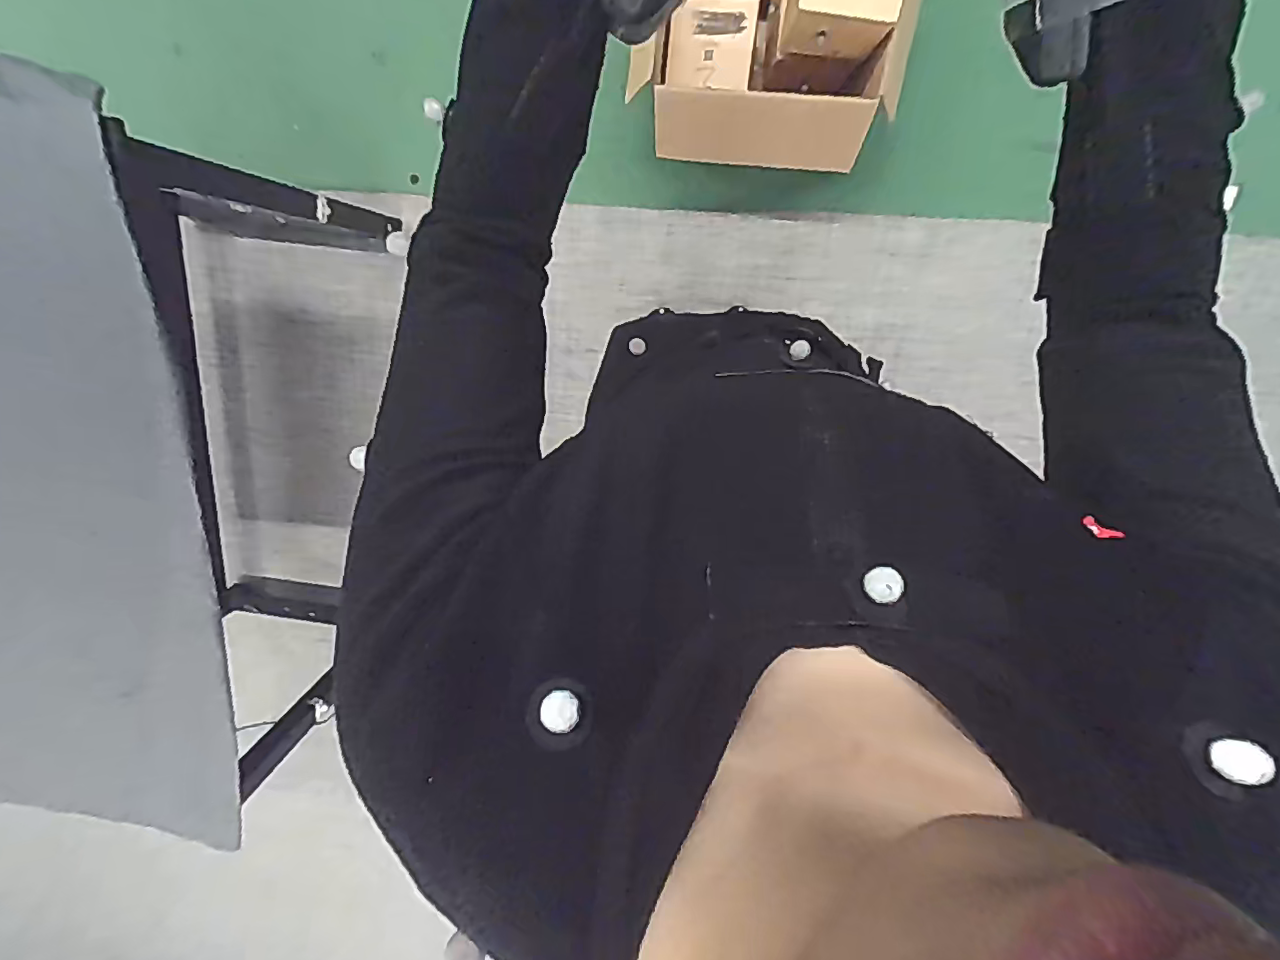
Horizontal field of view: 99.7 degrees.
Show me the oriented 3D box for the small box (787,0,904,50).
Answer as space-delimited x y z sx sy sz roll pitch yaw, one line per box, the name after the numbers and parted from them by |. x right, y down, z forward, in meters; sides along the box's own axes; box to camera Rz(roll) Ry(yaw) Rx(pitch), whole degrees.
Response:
0.356 -0.866 0.910 0.168 0.176 0.179 9 108 1 | small box
